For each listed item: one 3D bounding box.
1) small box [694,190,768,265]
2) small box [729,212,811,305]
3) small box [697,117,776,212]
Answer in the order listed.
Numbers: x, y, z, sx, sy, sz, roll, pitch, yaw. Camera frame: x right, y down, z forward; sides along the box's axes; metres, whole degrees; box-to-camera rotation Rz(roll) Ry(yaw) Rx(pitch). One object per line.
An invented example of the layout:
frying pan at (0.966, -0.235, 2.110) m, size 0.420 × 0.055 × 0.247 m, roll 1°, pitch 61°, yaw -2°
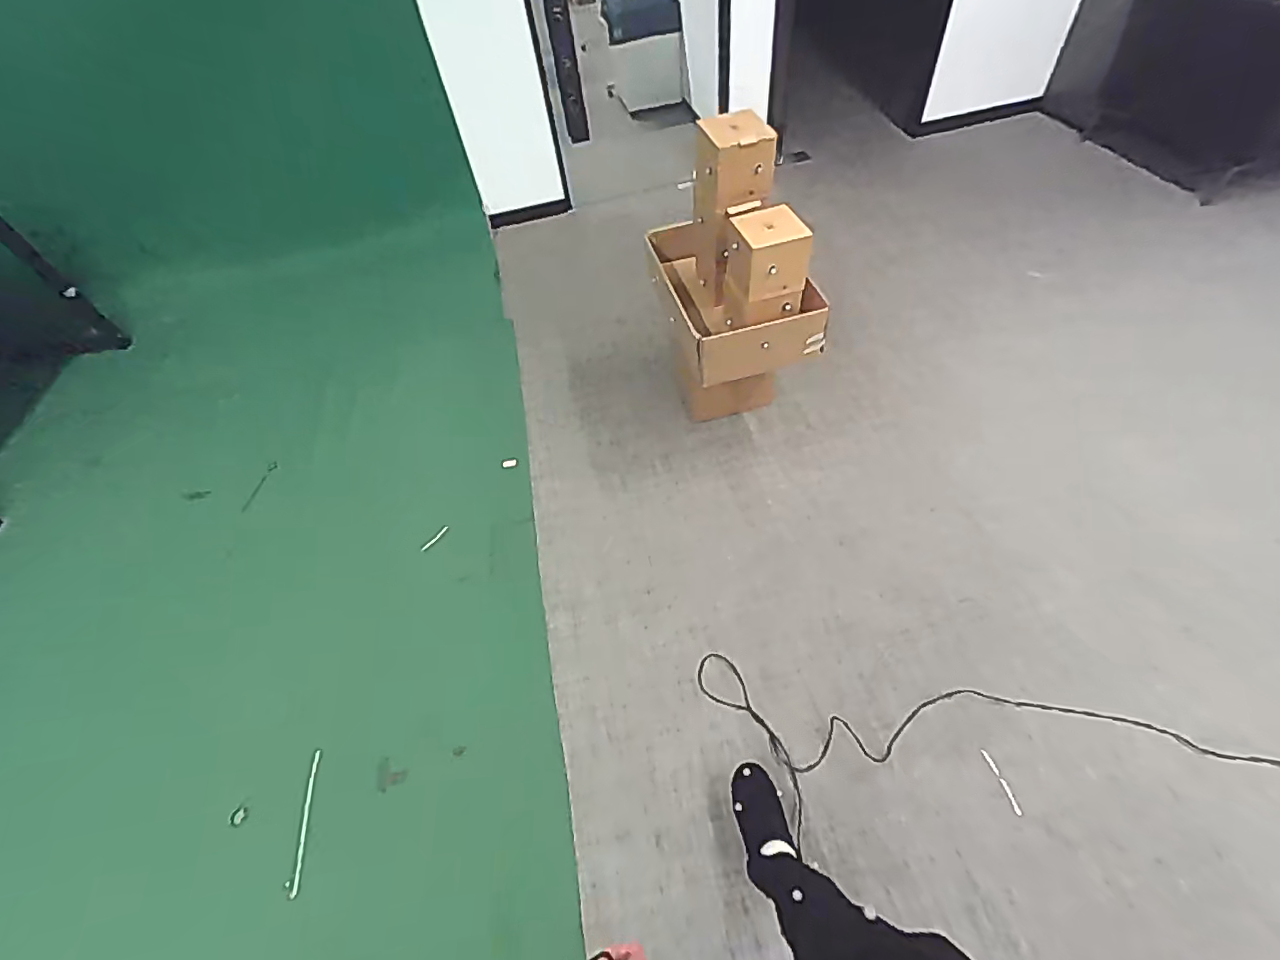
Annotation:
small box at (0.272, -0.776, 1.641) m, size 0.168 × 0.176 × 0.179 m, roll -18°, pitch 55°, yaw -7°
small box at (0.352, -0.605, 1.499) m, size 0.168 × 0.176 × 0.179 m, roll -15°, pitch 52°, yaw -5°
small box at (0.264, -0.871, 1.509) m, size 0.168 × 0.176 × 0.179 m, roll -16°, pitch 55°, yaw -6°
